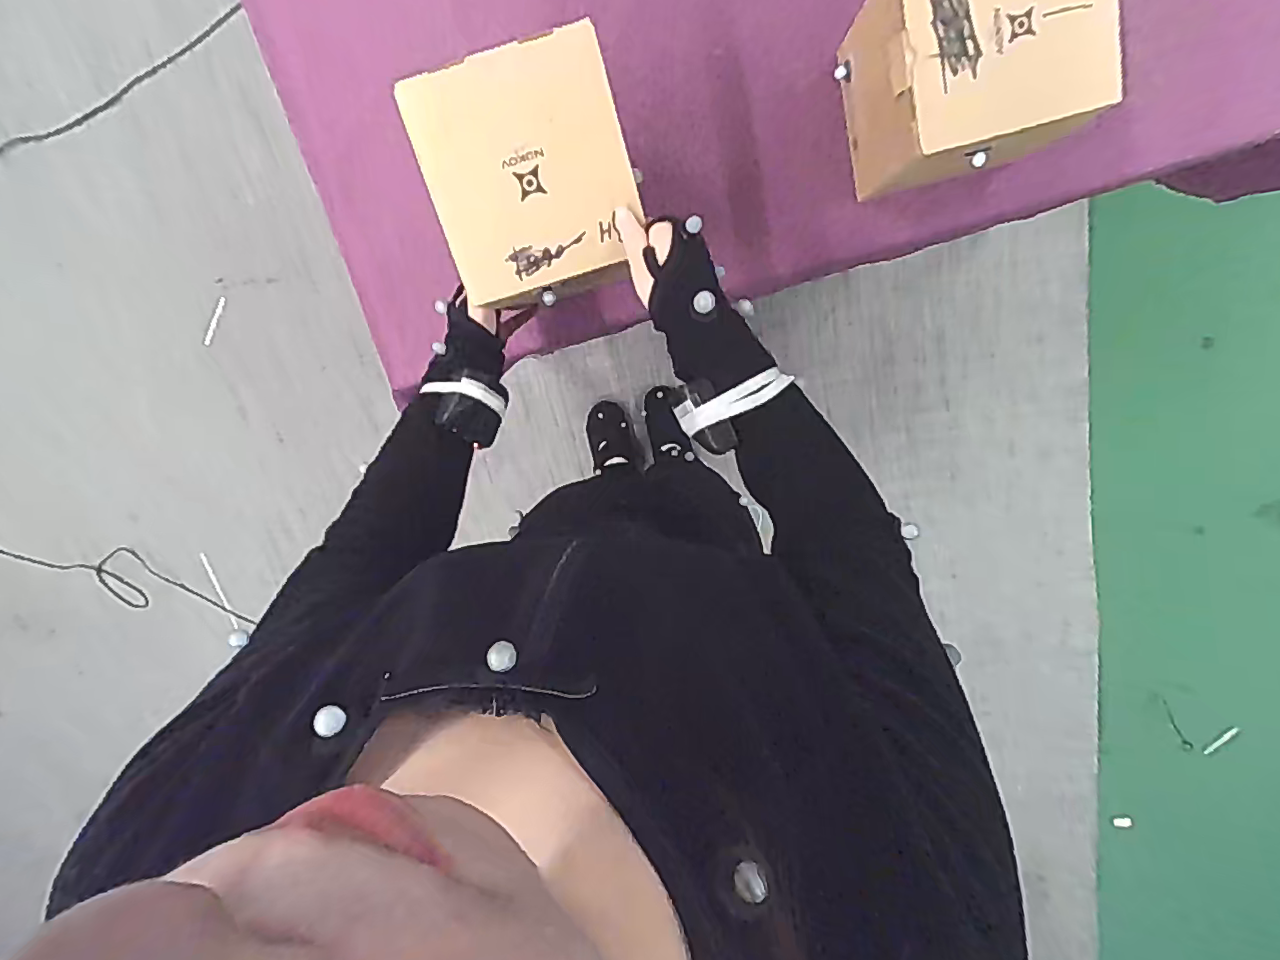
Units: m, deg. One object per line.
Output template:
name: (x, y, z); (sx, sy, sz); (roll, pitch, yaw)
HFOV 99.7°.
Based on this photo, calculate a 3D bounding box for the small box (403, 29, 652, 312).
small box: (-0.090, -0.270, 0.519); (0.168, 0.176, 0.179); (-15, 106, 4)

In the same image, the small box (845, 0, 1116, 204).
small box: (0.321, -0.401, 0.545); (0.179, 0.176, 0.168); (-12, 103, 6)
